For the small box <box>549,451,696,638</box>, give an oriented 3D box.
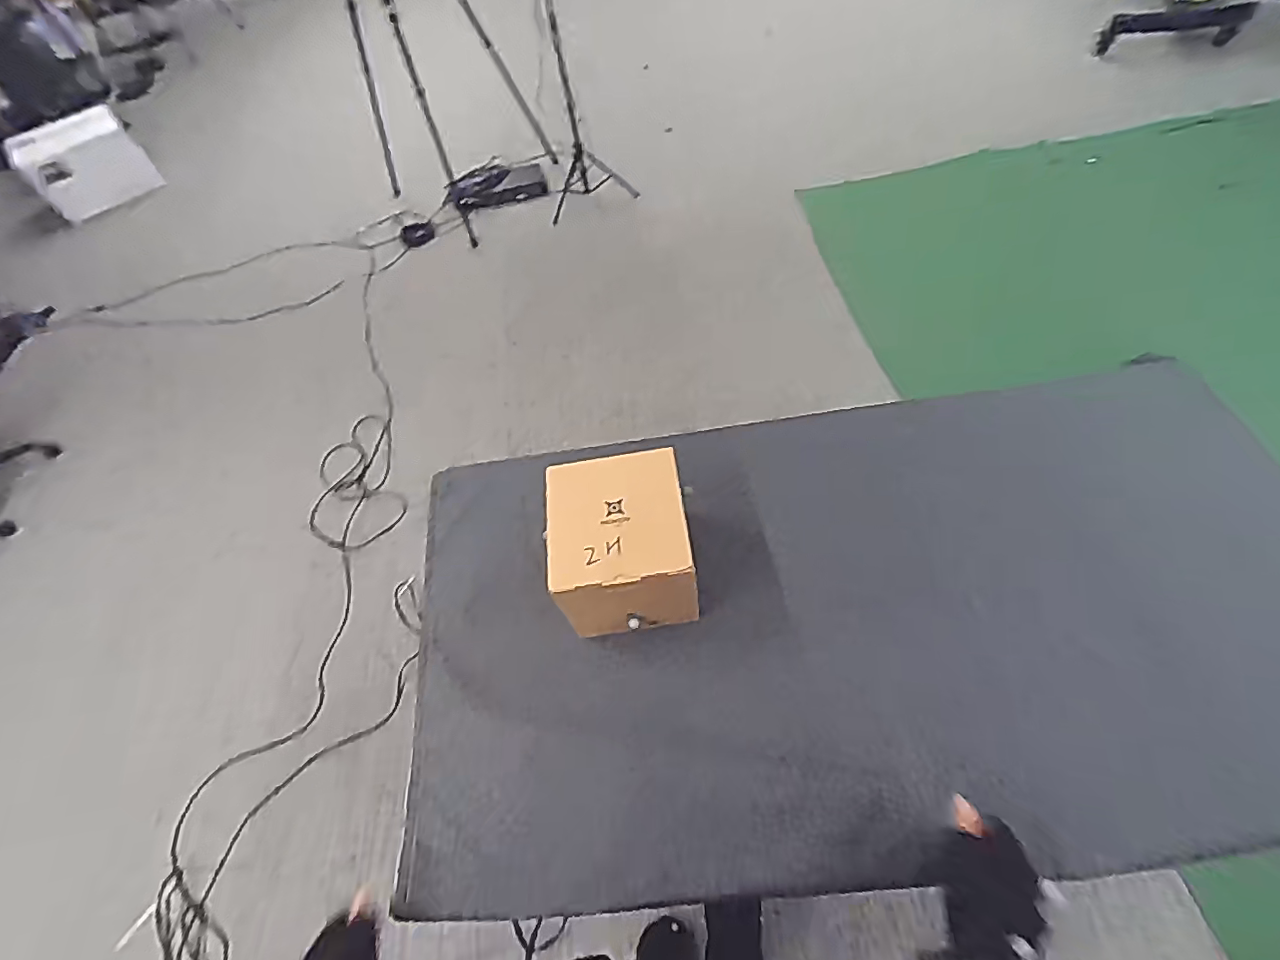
[{"bbox_3d":[-0.021,0.089,0.713,0.168,0.176,0.179,-9,56,2],"label":"small box"}]
